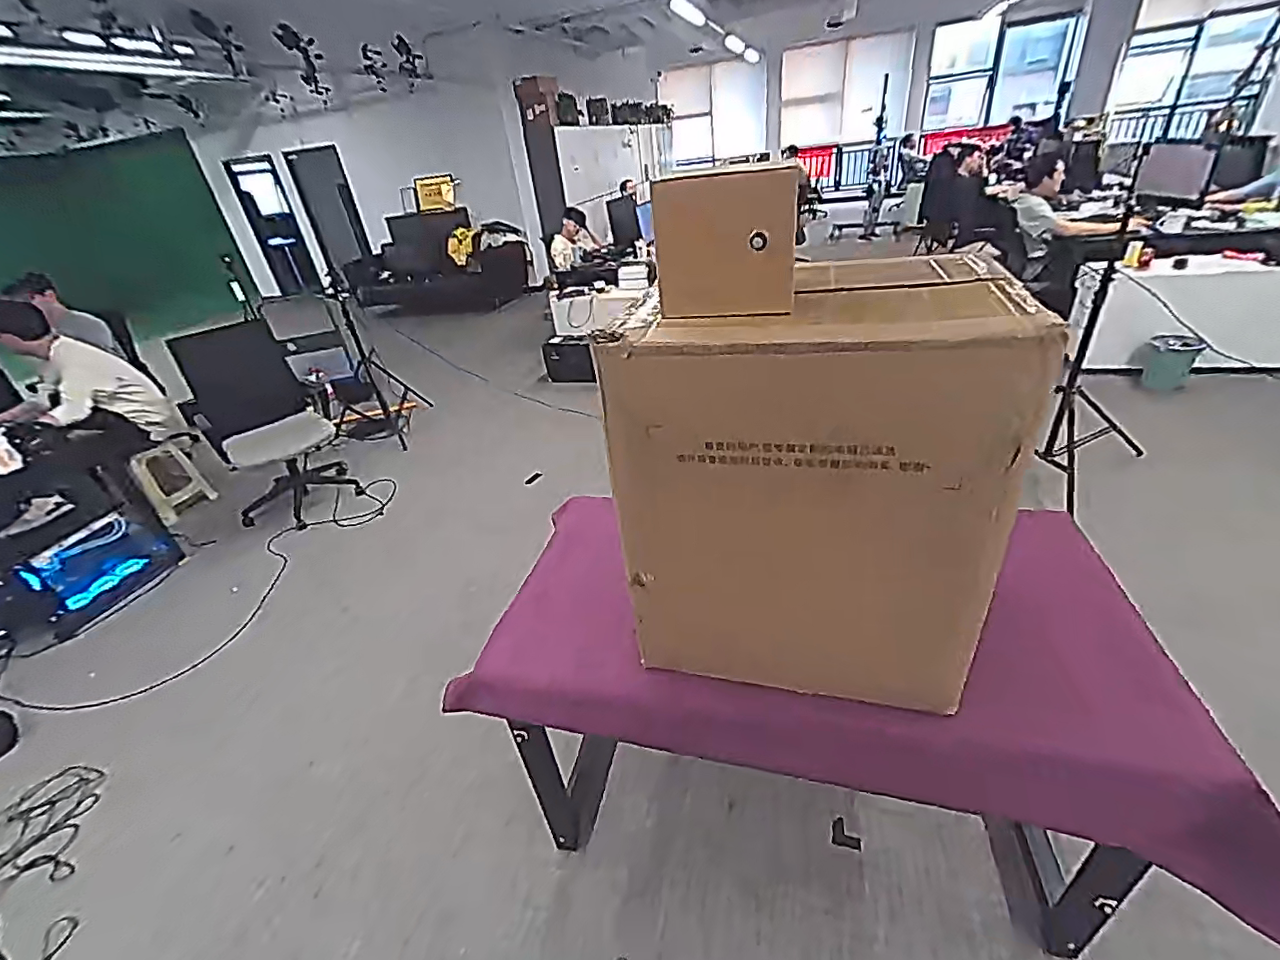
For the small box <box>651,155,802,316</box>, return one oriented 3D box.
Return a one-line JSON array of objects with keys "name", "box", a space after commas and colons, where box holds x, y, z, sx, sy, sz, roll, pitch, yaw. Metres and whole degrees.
[{"name": "small box", "box": [0.123, -0.330, 0.732, 0.179, 0.176, 0.168, 1, 32, 14]}]
